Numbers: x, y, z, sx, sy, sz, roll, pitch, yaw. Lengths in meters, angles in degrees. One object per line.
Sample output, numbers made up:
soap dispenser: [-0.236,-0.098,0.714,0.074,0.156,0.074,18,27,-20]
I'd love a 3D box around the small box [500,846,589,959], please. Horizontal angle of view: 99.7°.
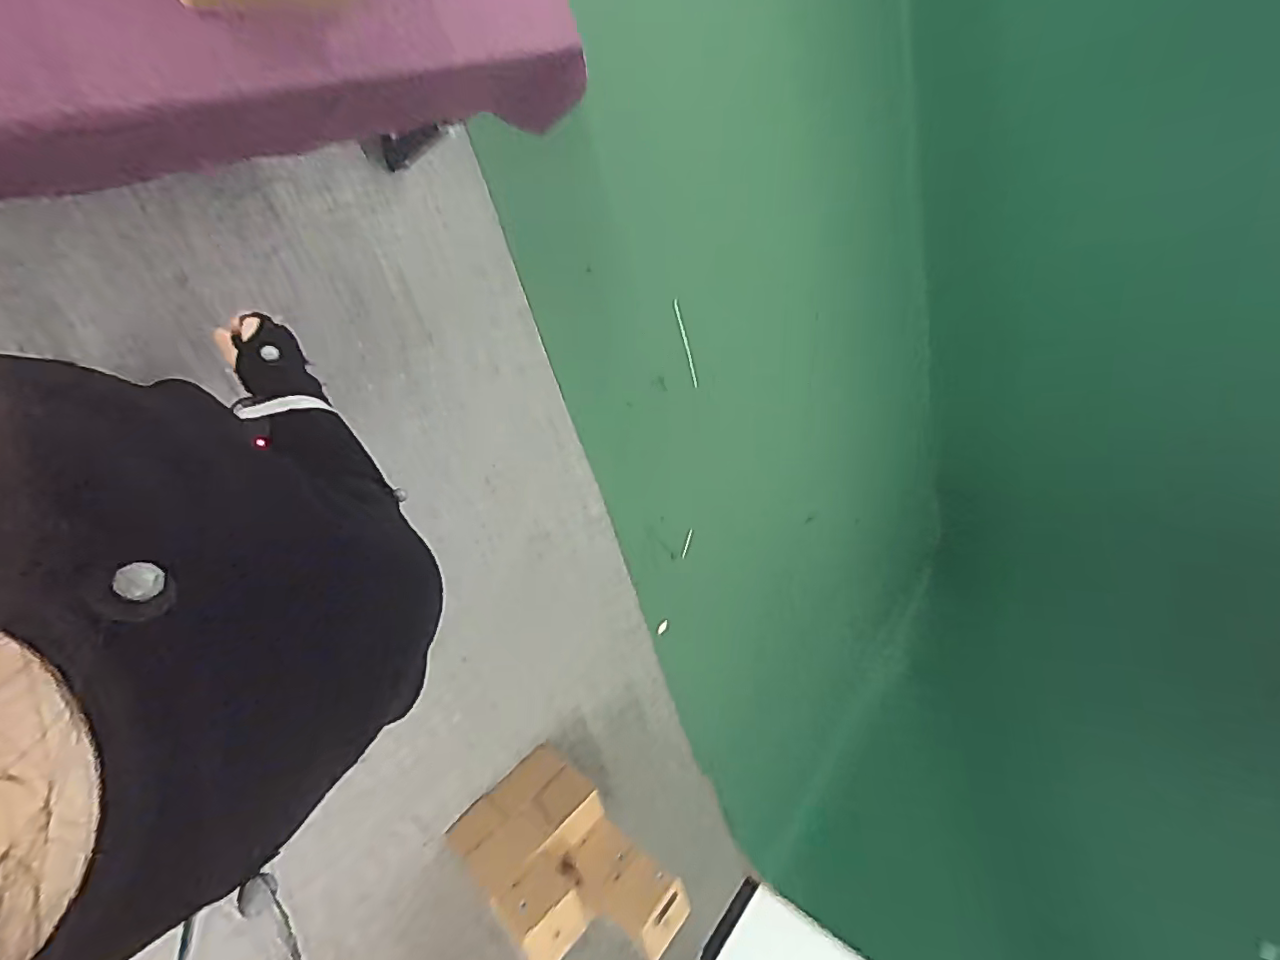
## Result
small box: [-0.273,1.185,1.525,0.168,0.176,0.179,-27,117,-36]

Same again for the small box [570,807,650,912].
small box: [-0.094,1.181,1.698,0.168,0.176,0.179,-30,119,-38]
